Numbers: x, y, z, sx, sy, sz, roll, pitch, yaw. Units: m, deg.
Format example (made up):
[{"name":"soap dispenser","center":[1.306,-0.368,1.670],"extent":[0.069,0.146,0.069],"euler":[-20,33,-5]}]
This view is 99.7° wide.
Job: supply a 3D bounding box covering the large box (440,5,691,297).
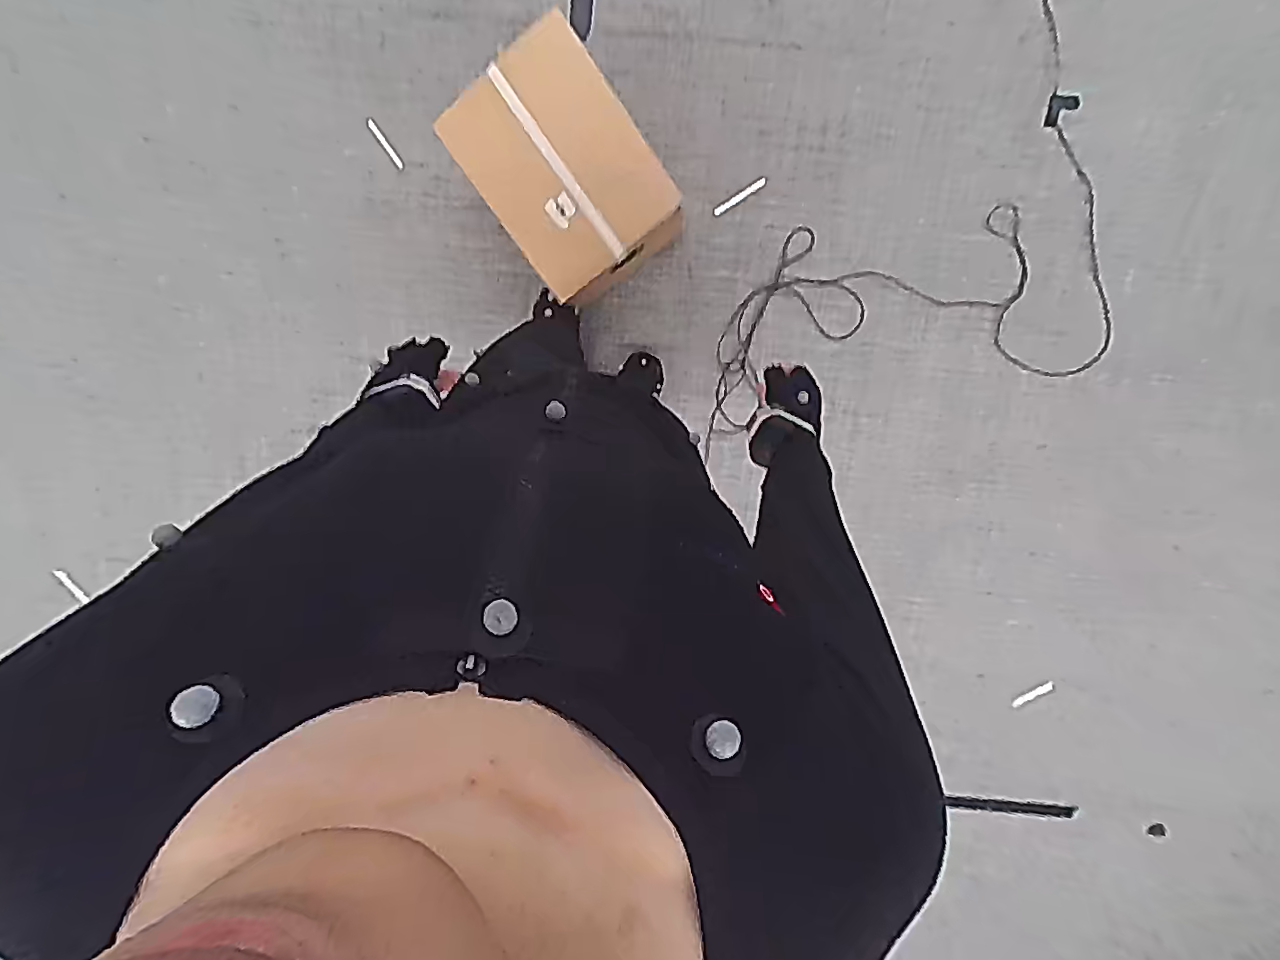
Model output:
[{"name":"large box","center":[-0.136,-0.660,1.175],"extent":[0.320,0.320,0.408],"euler":[-36,102,14]}]
